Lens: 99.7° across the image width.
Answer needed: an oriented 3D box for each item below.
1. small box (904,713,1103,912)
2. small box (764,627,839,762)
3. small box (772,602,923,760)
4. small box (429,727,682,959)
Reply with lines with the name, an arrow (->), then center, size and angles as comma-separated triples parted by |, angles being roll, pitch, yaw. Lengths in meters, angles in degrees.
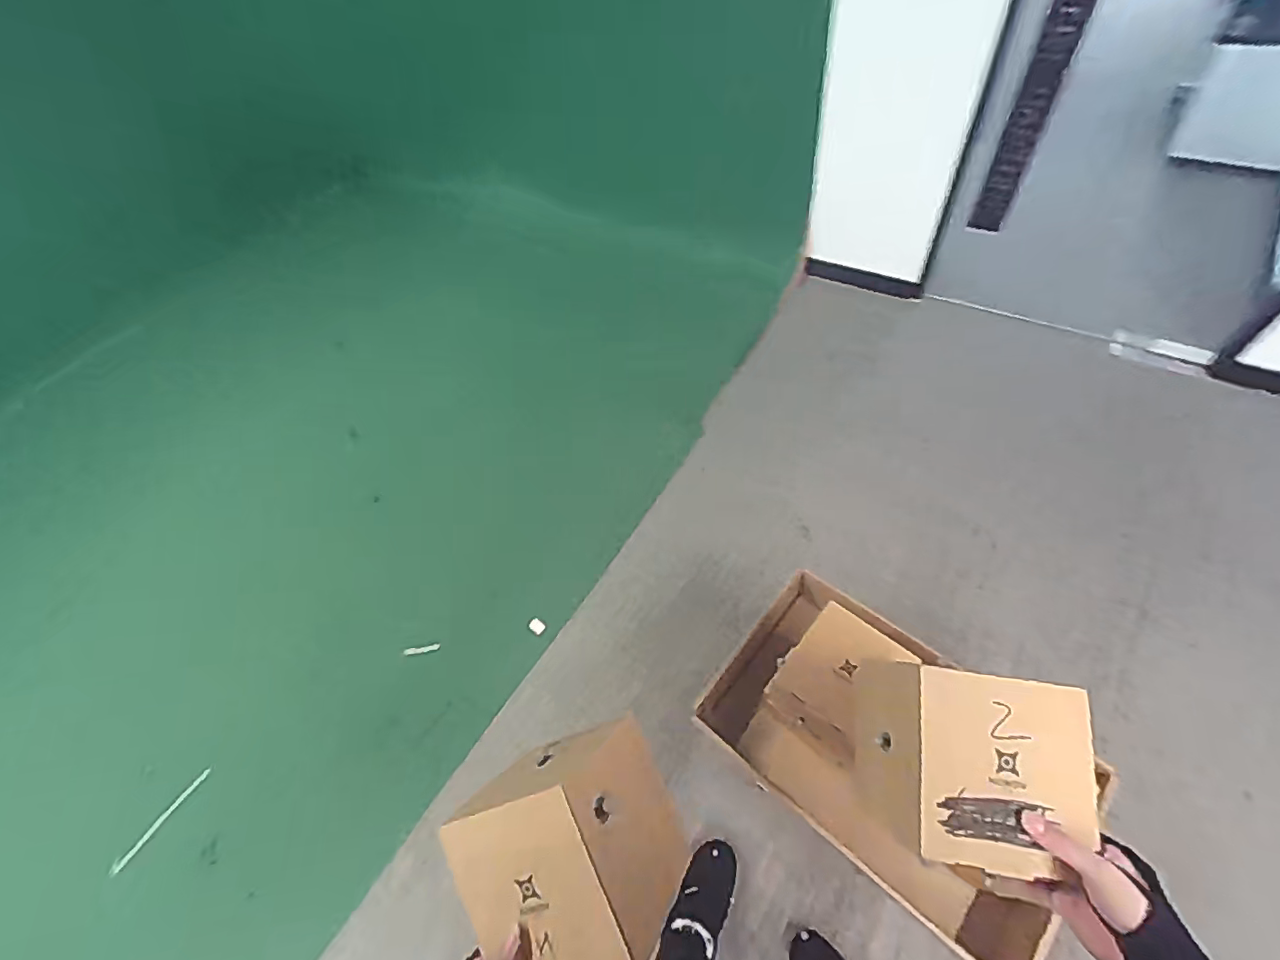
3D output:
small box -> 0.519, 0.484, 0.802 | 0.168, 0.176, 0.179 | 35, 69, 26
small box -> 0.360, 0.428, 1.067 | 0.179, 0.176, 0.168 | 36, 69, 27
small box -> 0.341, 0.347, 0.926 | 0.168, 0.176, 0.179 | 35, 69, 26
small box -> -0.078, 0.388, 0.571 | 0.168, 0.176, 0.179 | -29, 81, 19
